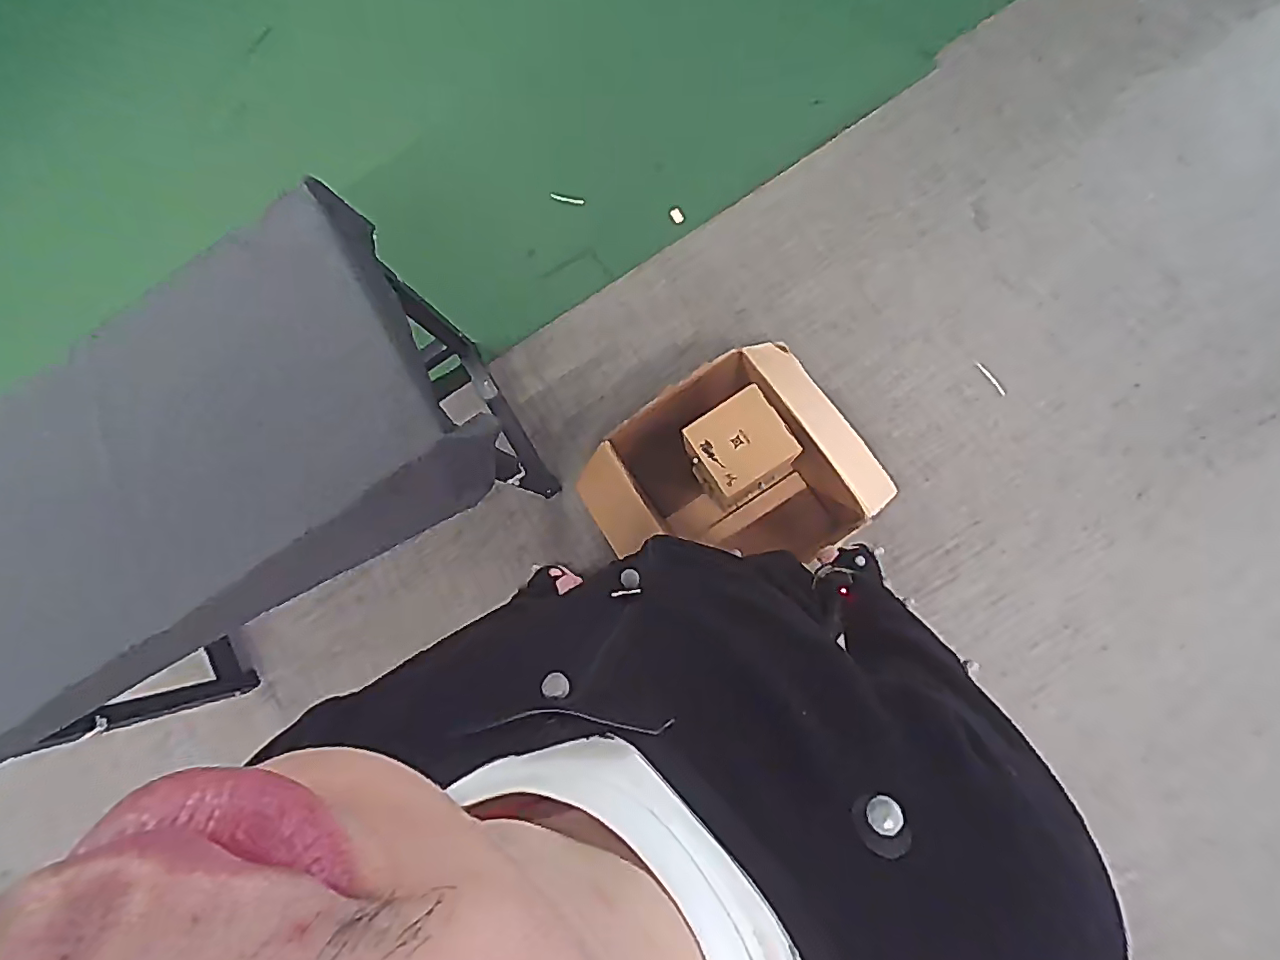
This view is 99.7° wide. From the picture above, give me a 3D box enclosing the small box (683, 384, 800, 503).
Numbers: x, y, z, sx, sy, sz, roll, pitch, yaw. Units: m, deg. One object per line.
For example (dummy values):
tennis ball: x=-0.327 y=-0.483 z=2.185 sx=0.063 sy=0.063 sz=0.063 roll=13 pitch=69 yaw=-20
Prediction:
small box: x=0.202 y=-0.069 z=1.131 sx=0.179 sy=0.176 sz=0.168 roll=-32 pitch=79 yaw=0
